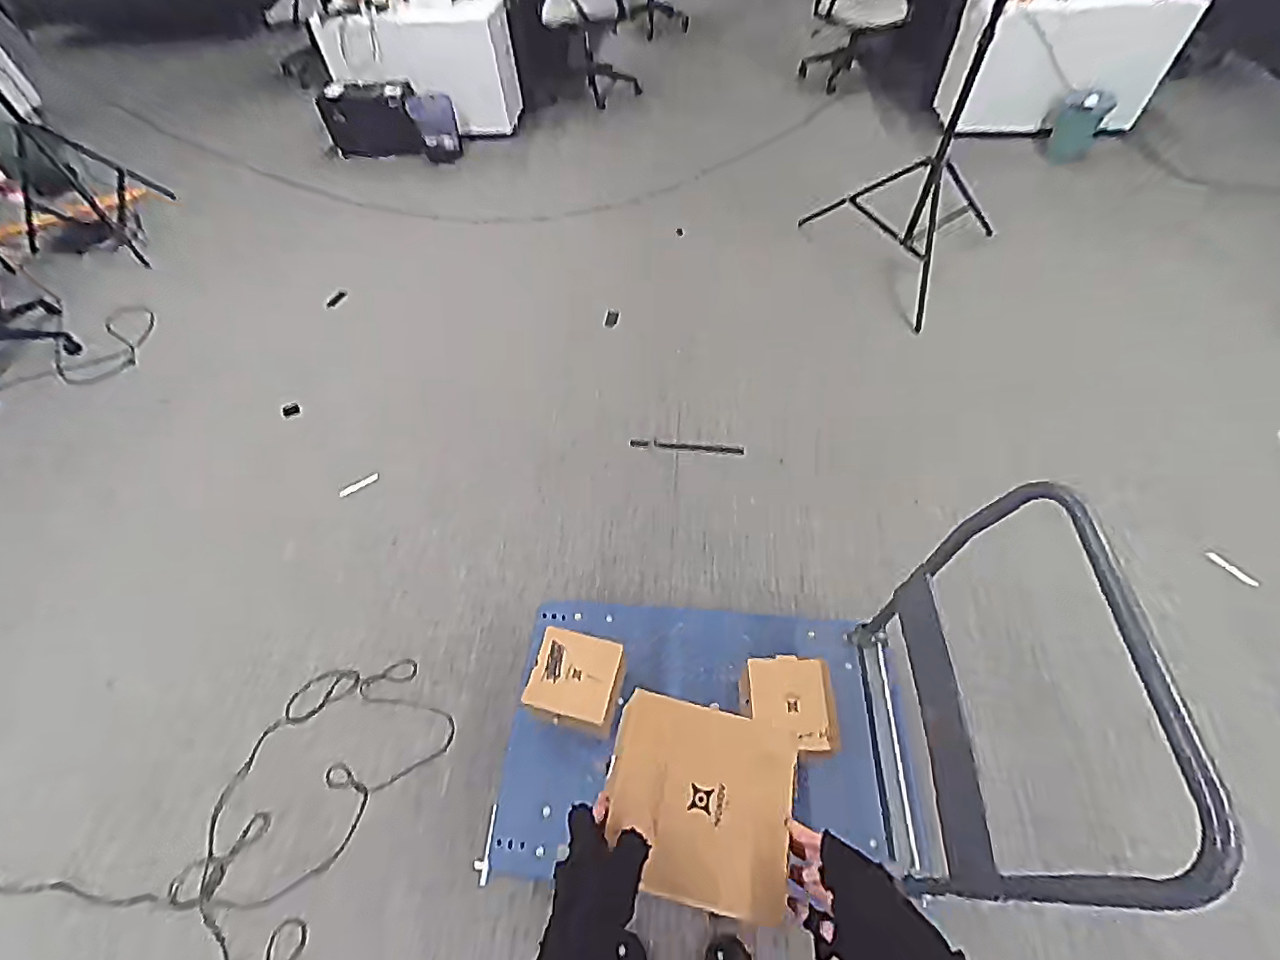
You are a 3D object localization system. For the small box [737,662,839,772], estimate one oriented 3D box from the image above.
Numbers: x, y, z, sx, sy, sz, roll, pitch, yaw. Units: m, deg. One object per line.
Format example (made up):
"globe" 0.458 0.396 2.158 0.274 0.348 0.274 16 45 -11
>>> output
"small box" 0.301 0.501 1.140 0.168 0.176 0.179 0 53 3

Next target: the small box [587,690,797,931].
"small box" 0.049 0.342 0.579 0.179 0.176 0.168 14 59 2

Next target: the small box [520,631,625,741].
"small box" -0.139 0.456 1.186 0.179 0.176 0.168 12 55 9
